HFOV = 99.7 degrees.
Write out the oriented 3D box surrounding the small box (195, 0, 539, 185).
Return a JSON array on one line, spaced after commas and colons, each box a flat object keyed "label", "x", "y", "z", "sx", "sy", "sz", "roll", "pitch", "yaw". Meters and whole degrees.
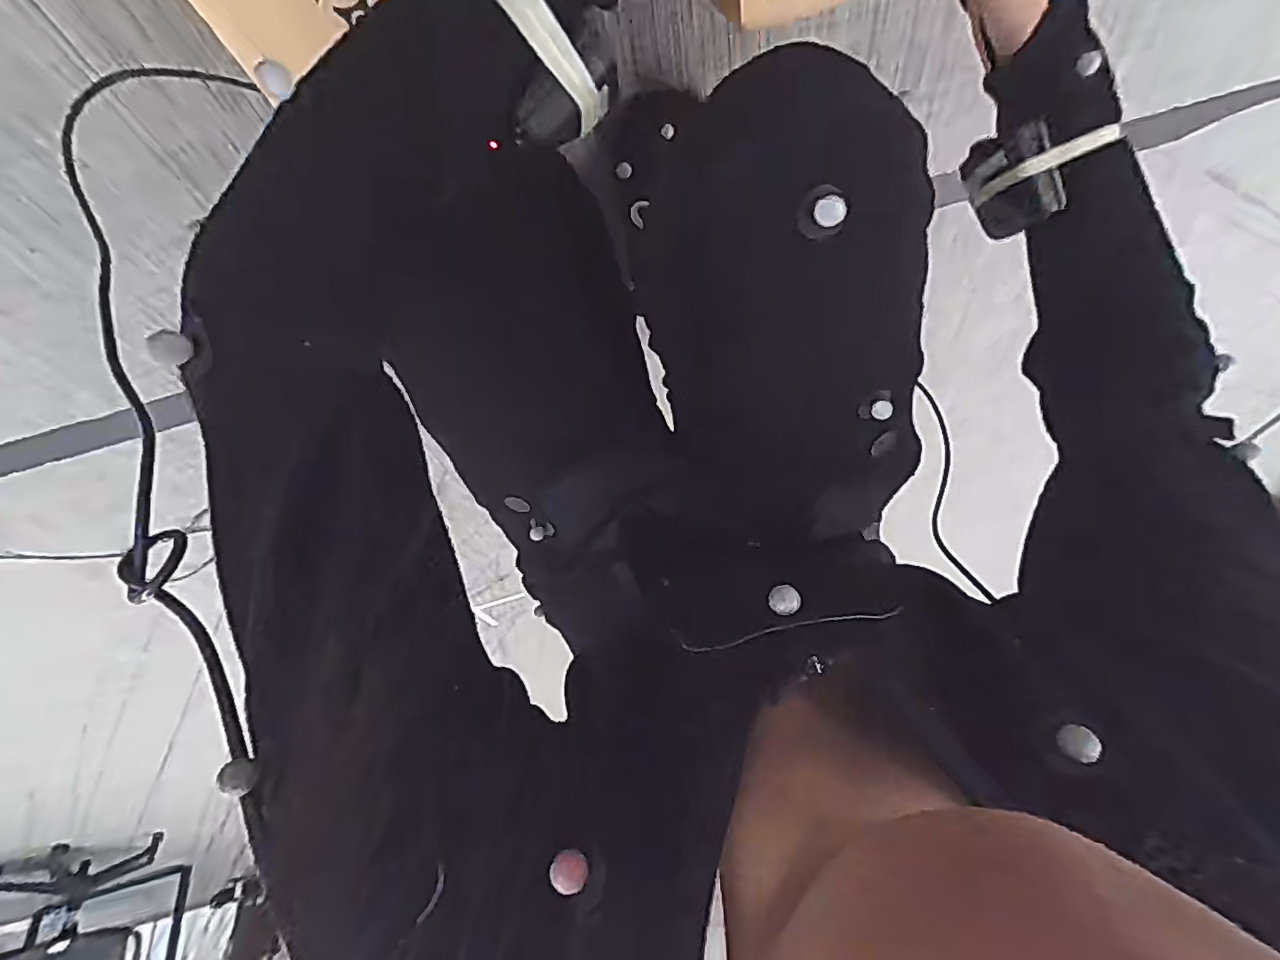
[{"label": "small box", "x": -0.188, "y": -0.351, "z": 0.365, "sx": 0.168, "sy": 0.176, "sz": 0.179, "roll": -20, "pitch": 148, "yaw": 7}]
